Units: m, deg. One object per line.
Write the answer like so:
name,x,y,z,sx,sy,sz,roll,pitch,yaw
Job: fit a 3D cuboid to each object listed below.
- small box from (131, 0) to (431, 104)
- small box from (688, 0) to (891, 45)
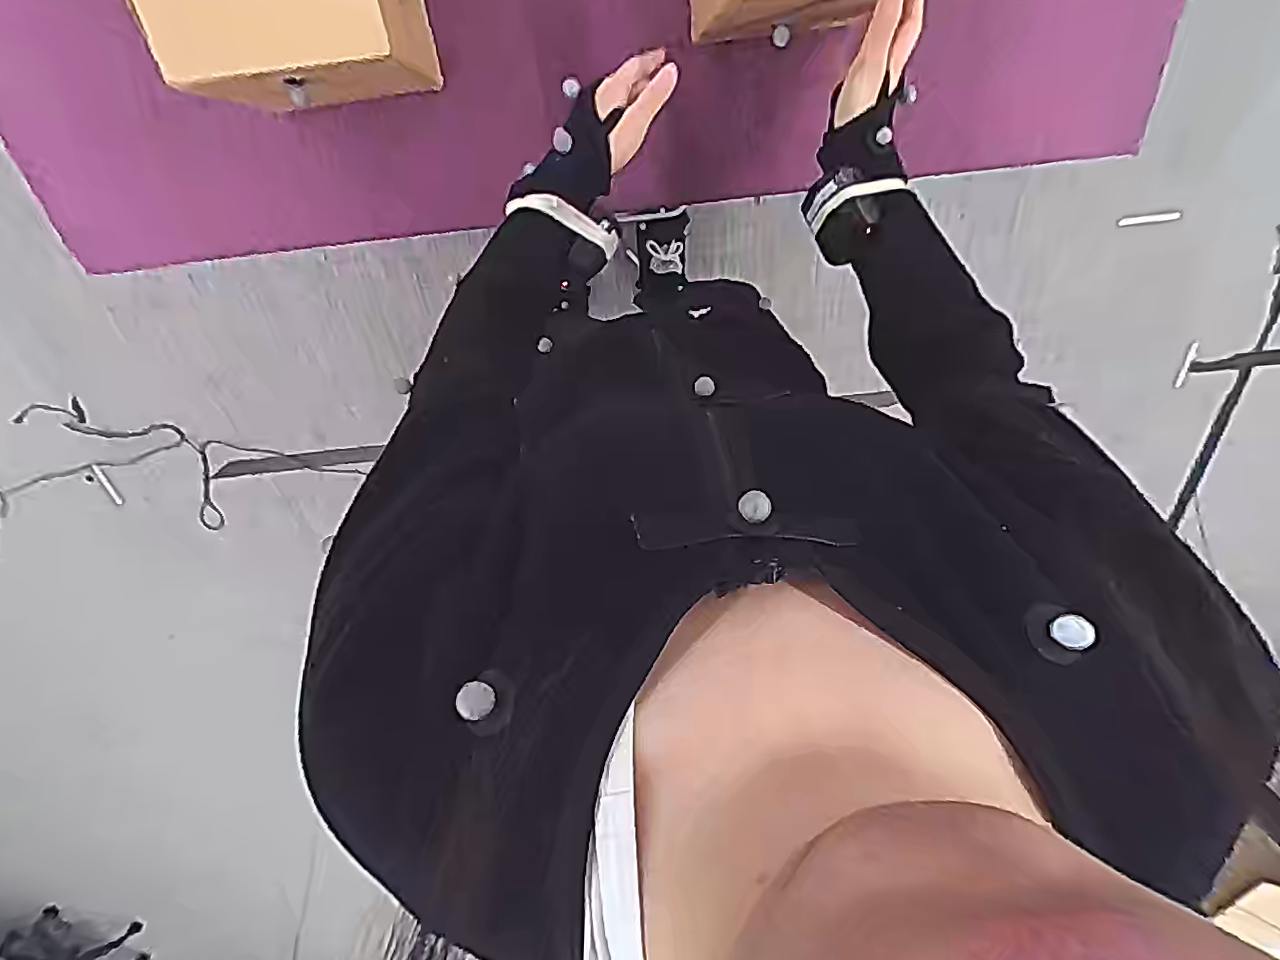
small box,-0.287,-0.421,0.439,0.179,0.176,0.168,-8,120,0
small box,0.127,-0.484,0.434,0.168,0.176,0.179,-7,120,0
